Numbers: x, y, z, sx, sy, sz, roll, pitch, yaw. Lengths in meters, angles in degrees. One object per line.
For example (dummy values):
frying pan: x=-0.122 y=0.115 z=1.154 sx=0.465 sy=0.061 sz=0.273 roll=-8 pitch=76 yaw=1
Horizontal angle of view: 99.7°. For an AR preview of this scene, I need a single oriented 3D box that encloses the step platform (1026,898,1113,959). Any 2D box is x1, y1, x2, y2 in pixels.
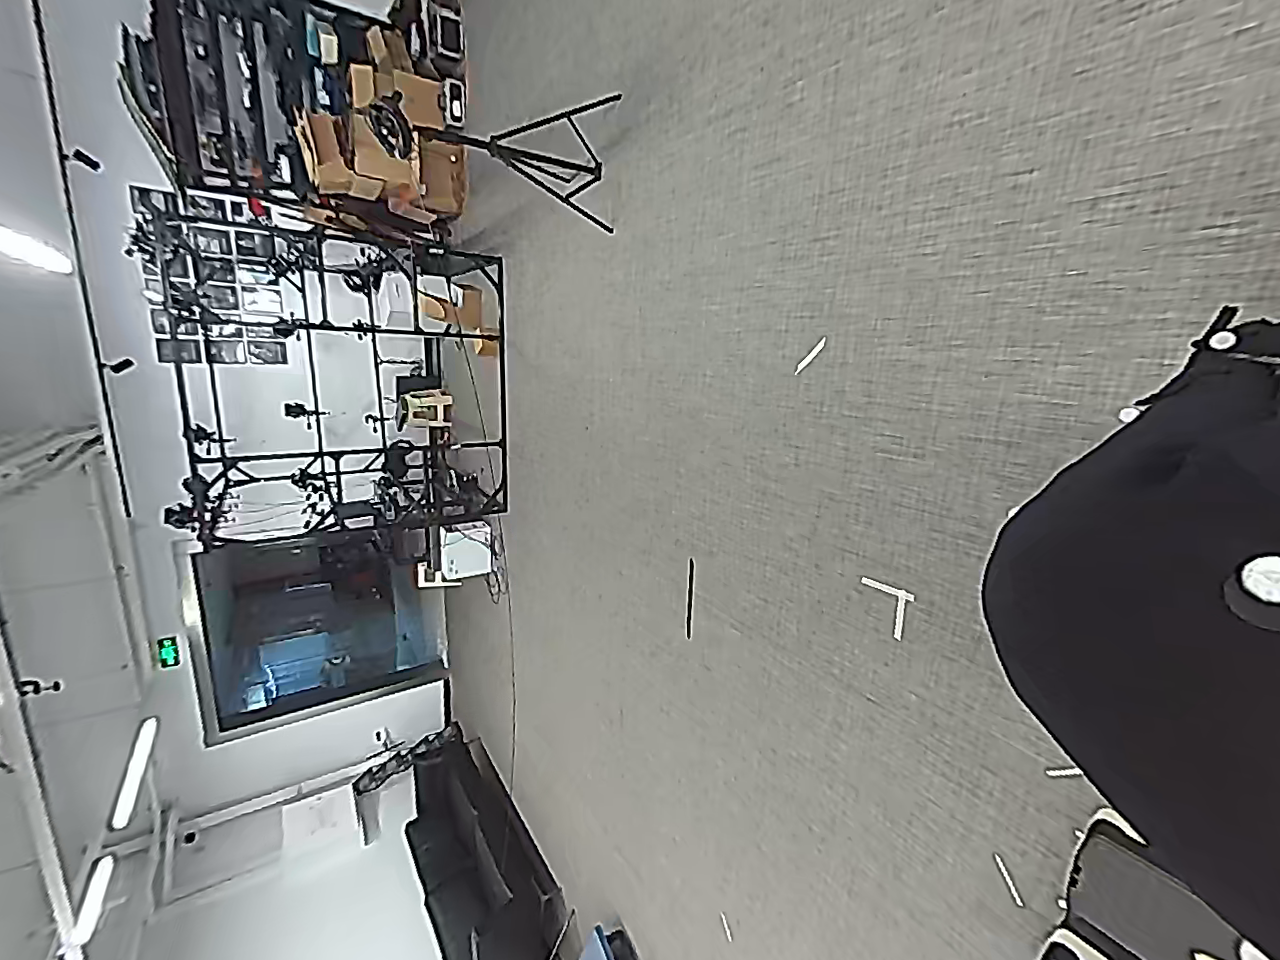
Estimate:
step platform: x=1.149 y=1.226 z=1.049 sx=0.684 sy=0.204 sz=0.286 roll=21 pitch=113 yaw=56
